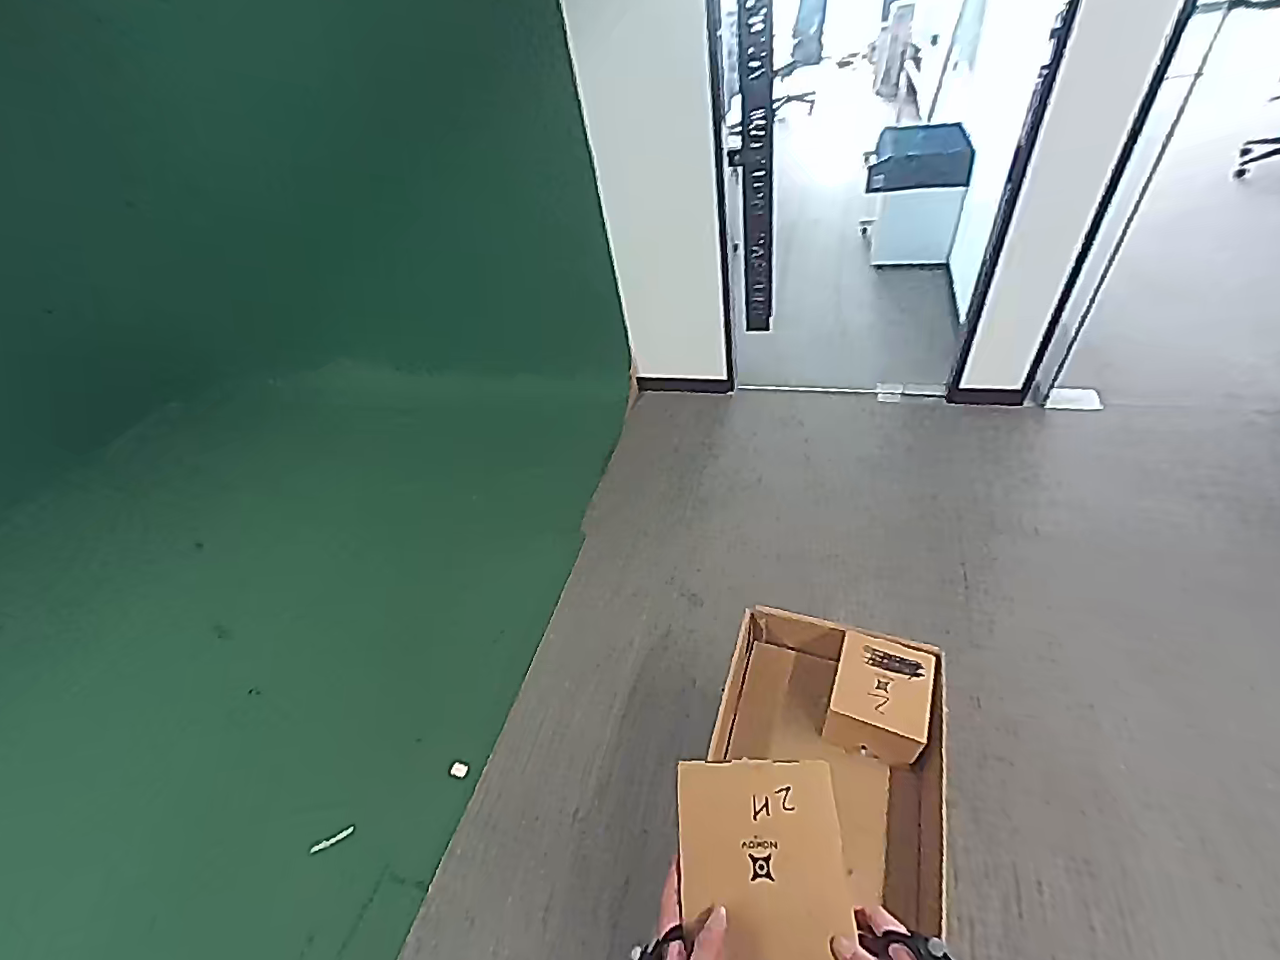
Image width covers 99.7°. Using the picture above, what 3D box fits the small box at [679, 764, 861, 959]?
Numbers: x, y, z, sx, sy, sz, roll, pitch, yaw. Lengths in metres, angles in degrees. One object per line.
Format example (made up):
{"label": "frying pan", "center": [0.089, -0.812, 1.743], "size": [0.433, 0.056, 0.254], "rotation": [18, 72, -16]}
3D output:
{"label": "small box", "center": [0.129, 0.423, 0.599], "size": [0.168, 0.176, 0.179], "rotation": [-1, 56, 4]}
